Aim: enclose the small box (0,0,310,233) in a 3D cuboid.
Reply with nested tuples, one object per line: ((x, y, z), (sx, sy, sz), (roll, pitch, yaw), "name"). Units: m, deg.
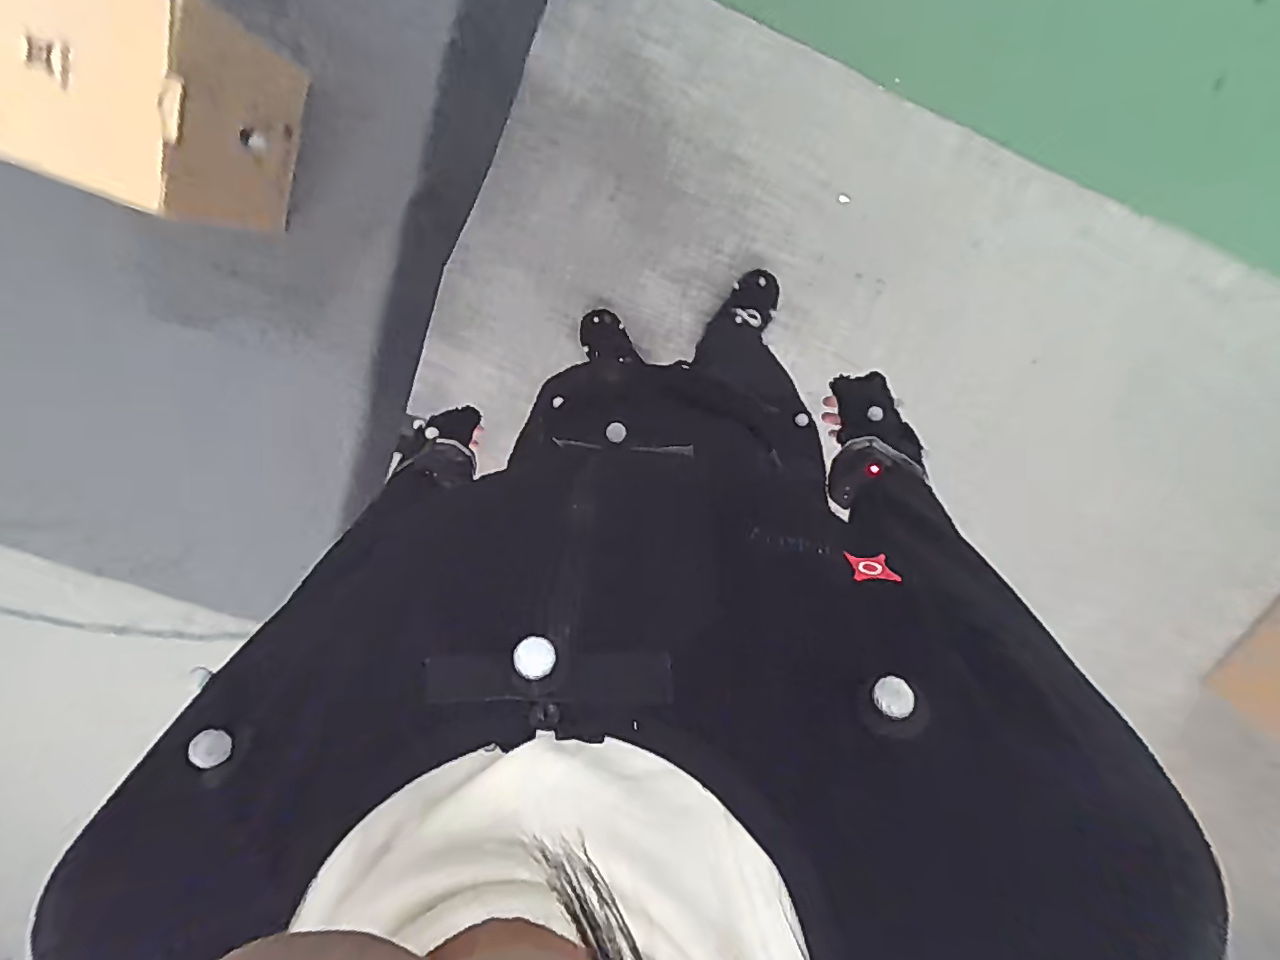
((-0.443, -0.343, 0.500), (0.179, 0.176, 0.168), (19, 109, -5), "small box")
